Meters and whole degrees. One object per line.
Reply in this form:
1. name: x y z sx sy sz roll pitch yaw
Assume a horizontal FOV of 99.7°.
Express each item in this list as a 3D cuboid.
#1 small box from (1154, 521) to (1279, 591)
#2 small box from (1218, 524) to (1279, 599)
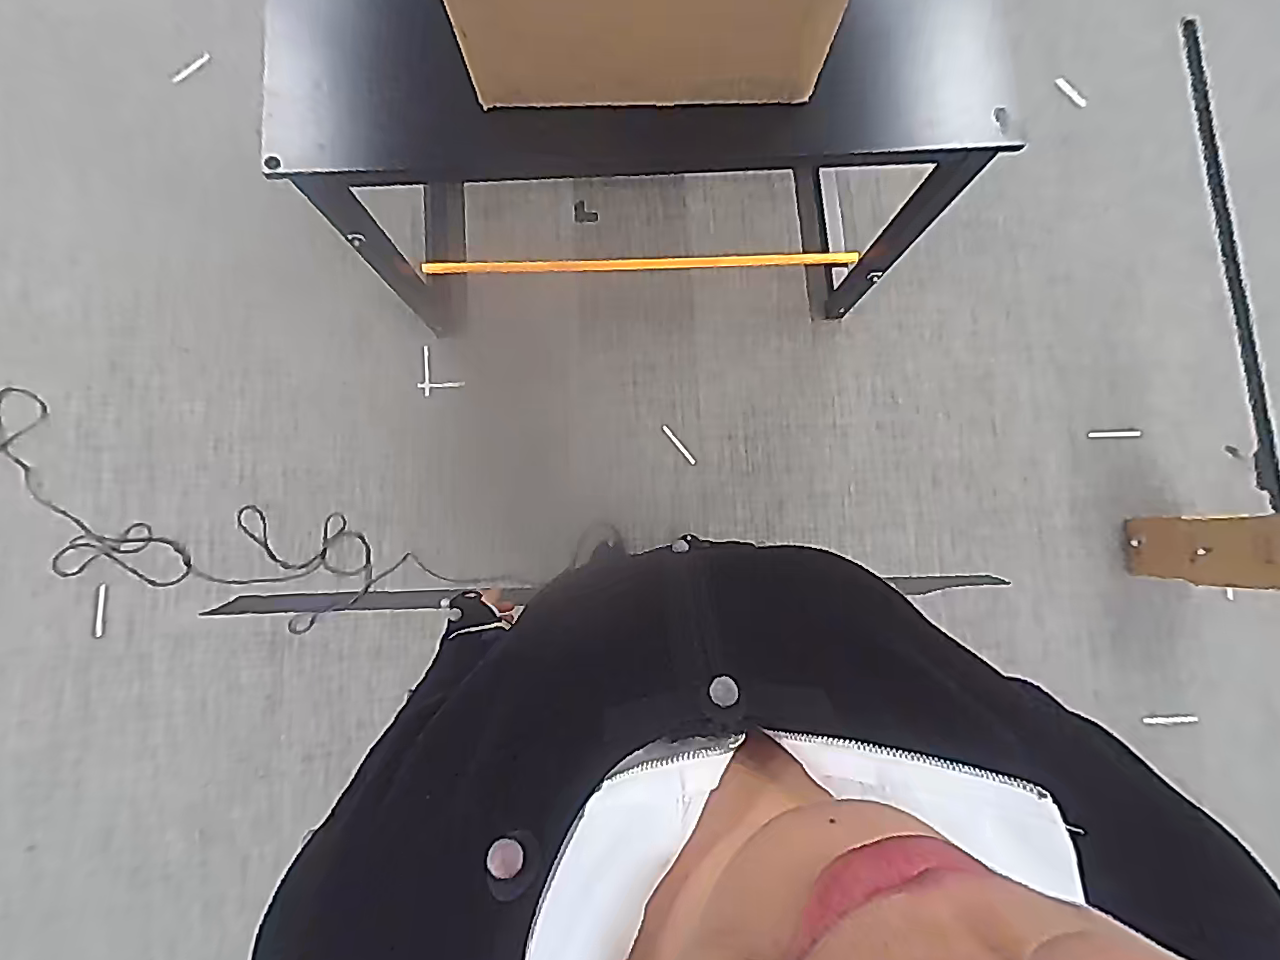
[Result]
1. small box: 1.490 0.190 1.387 0.179 0.176 0.168 -3 83 0
2. small box: 1.486 0.181 1.222 0.179 0.176 0.168 -2 83 -1
